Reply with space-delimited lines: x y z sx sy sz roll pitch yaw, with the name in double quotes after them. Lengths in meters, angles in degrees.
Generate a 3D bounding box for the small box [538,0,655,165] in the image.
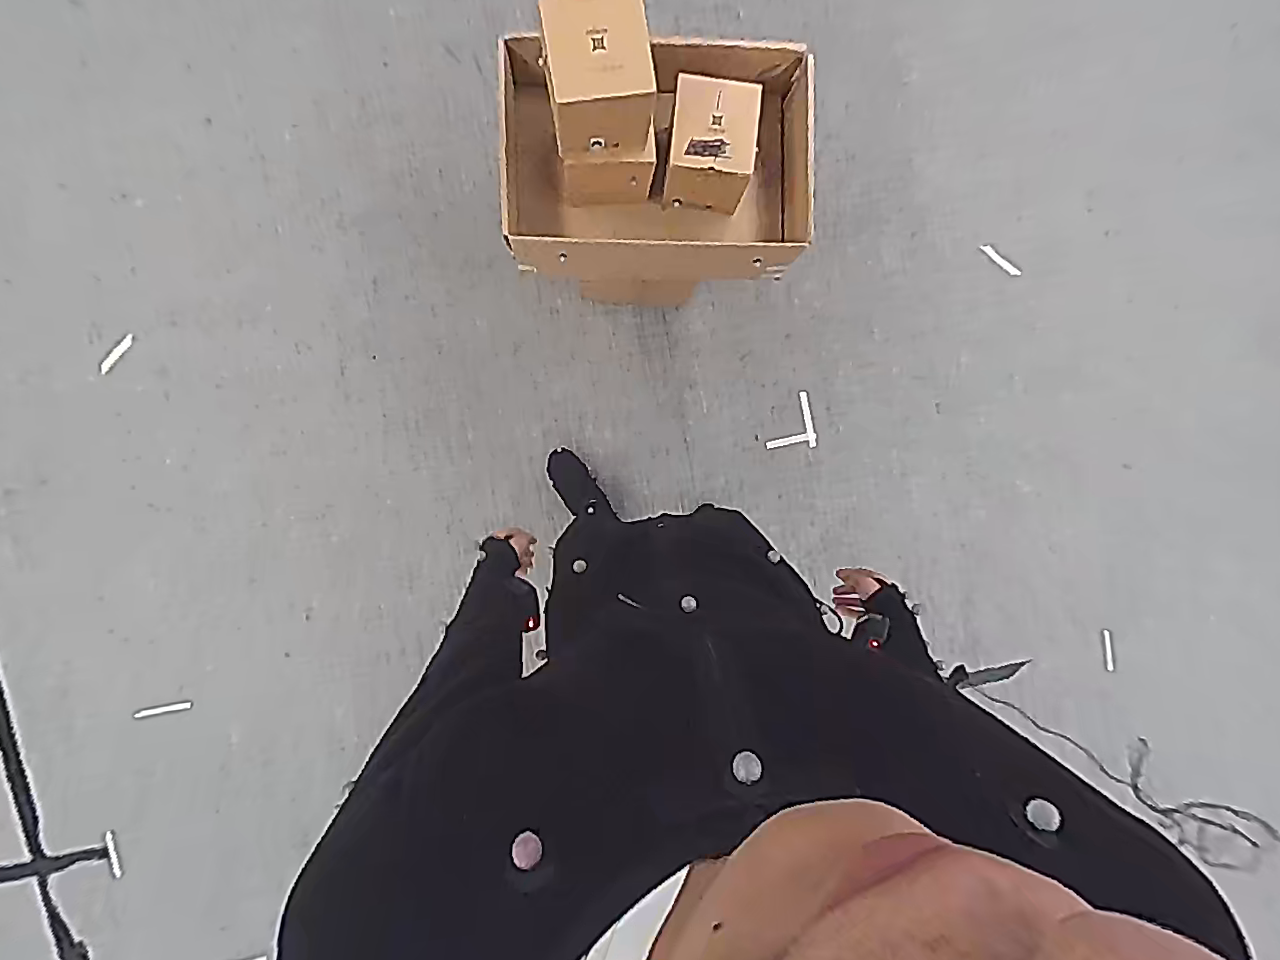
-0.077 -0.683 0.934 0.168 0.176 0.179 -10 92 -5 "small box"
